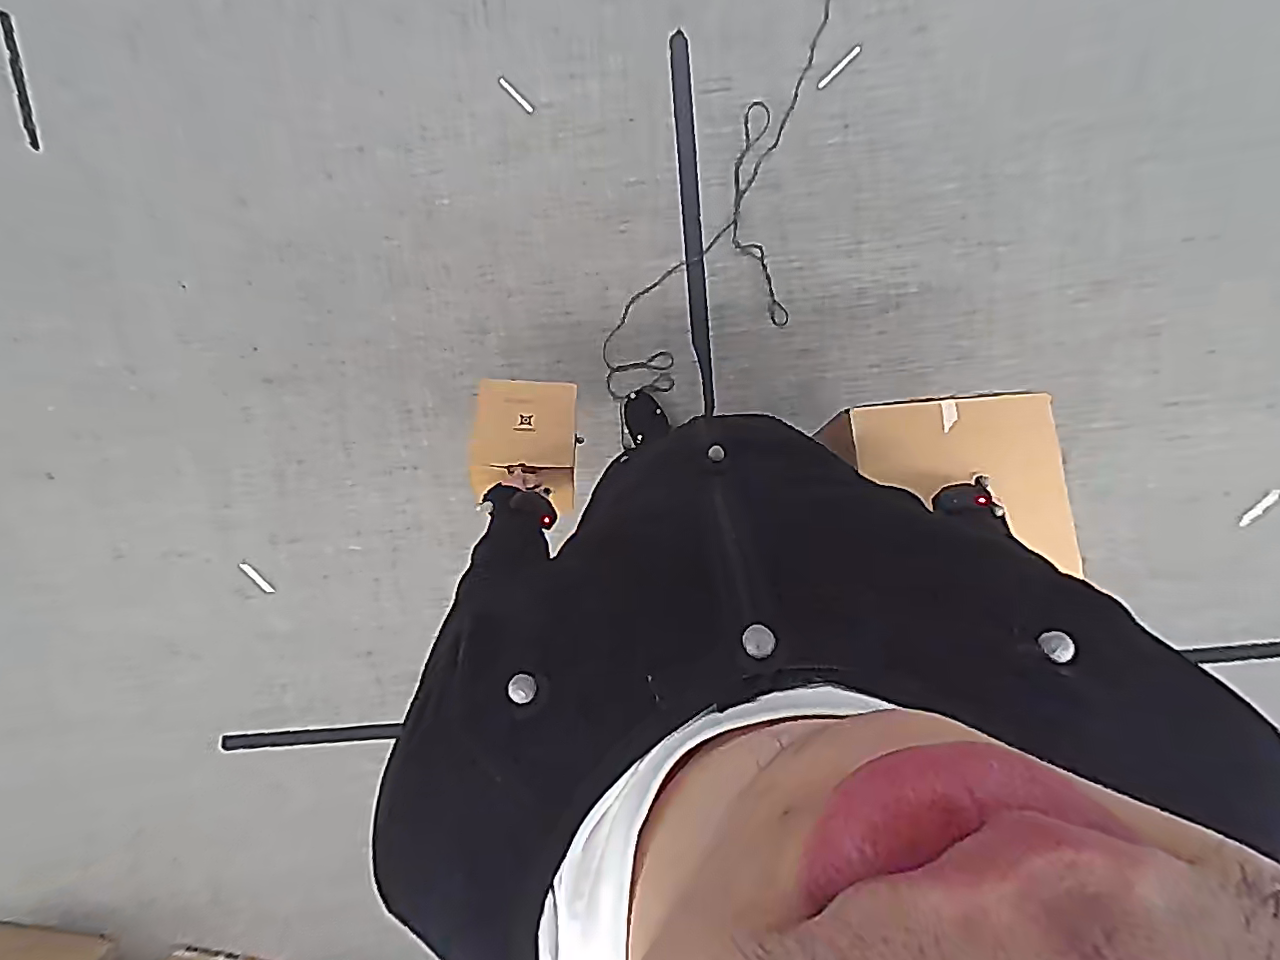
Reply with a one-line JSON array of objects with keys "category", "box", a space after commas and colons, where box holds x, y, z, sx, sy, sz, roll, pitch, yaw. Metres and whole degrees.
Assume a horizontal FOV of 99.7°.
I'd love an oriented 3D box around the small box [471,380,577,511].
[{"category": "small box", "box": [-0.199, -0.055, 0.976, 0.168, 0.176, 0.179, 3, 59, -7]}]
